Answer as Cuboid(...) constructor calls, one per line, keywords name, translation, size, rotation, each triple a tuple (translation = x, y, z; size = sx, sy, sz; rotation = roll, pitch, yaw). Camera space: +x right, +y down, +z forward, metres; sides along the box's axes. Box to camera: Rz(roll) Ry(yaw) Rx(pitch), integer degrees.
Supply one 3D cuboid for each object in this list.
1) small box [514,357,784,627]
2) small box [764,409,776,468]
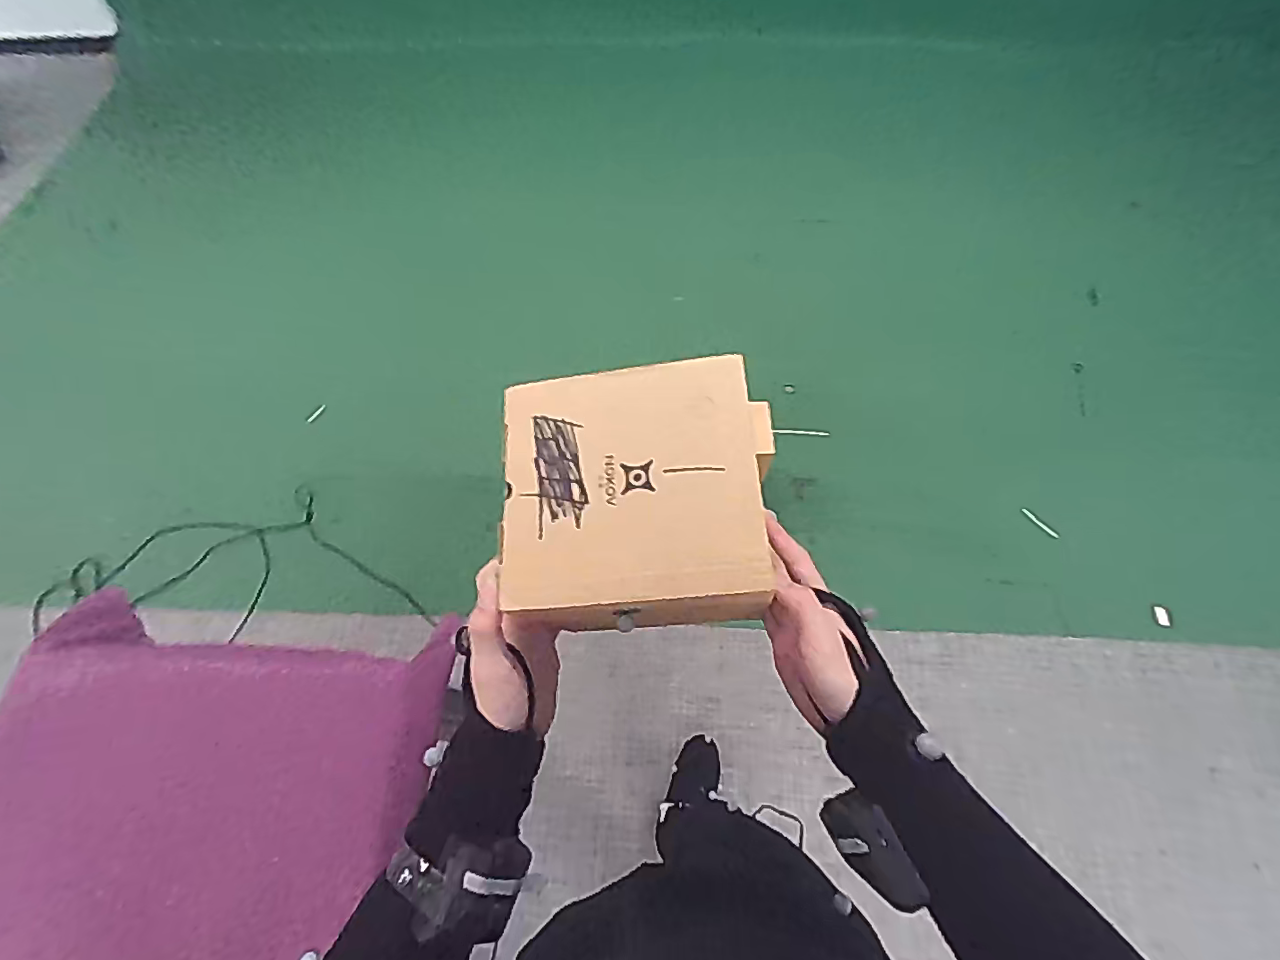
Cuboid(name="small box", translation=(0.016, 0.025, 0.439), size=(0.179, 0.176, 0.168), rotation=(-5, 69, 9))
Cuboid(name="small box", translation=(0.272, -0.083, 1.517), size=(0.179, 0.176, 0.168), rotation=(-2, 63, 2))
